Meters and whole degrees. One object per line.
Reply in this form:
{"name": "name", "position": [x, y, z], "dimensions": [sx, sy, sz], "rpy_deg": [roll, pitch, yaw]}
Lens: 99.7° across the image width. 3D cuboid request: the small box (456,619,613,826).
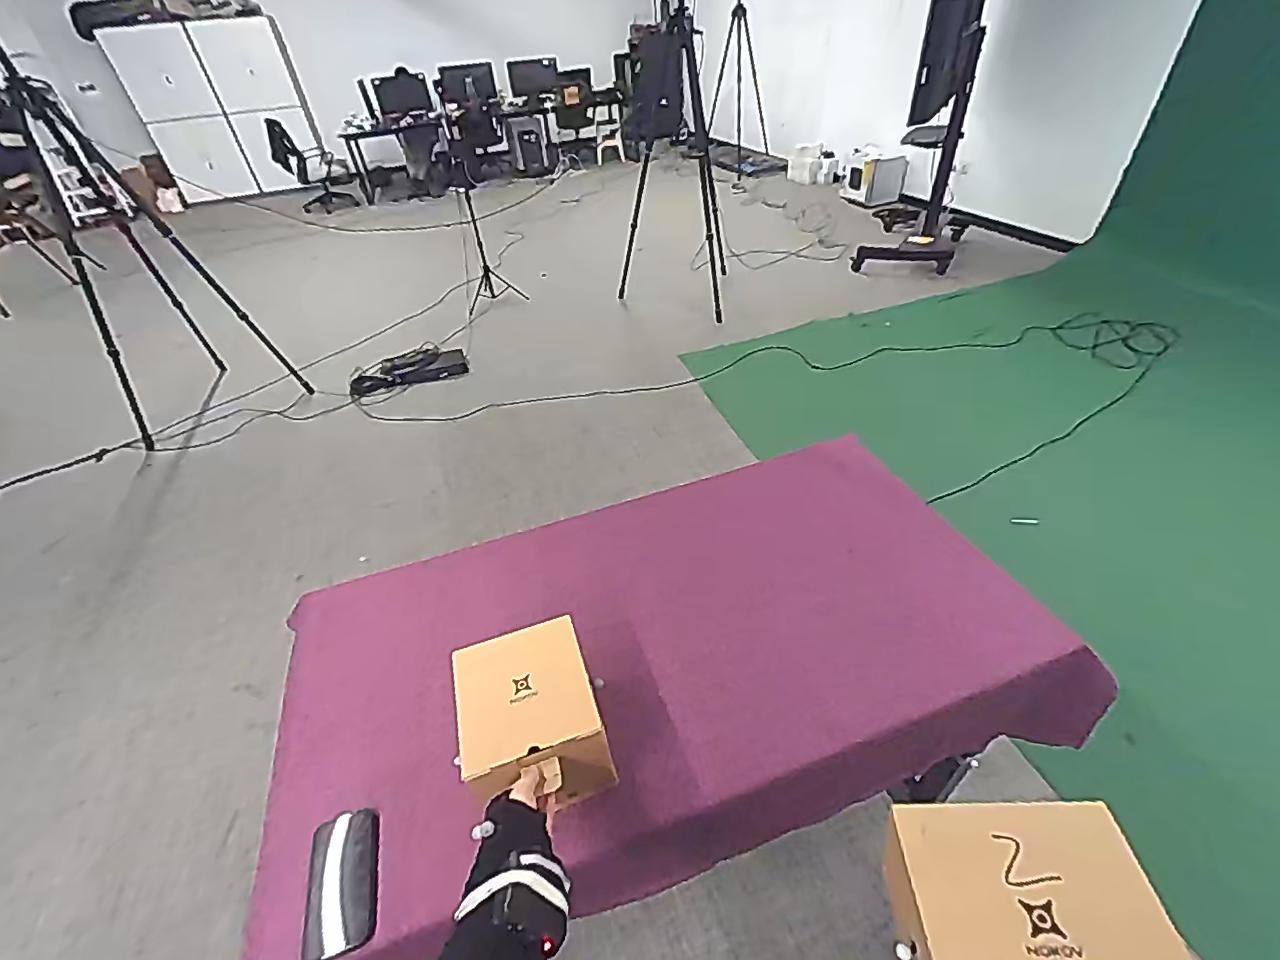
{"name": "small box", "position": [-0.143, 0.328, 0.738], "dimensions": [0.168, 0.176, 0.179], "rpy_deg": [-16, 42, -12]}
